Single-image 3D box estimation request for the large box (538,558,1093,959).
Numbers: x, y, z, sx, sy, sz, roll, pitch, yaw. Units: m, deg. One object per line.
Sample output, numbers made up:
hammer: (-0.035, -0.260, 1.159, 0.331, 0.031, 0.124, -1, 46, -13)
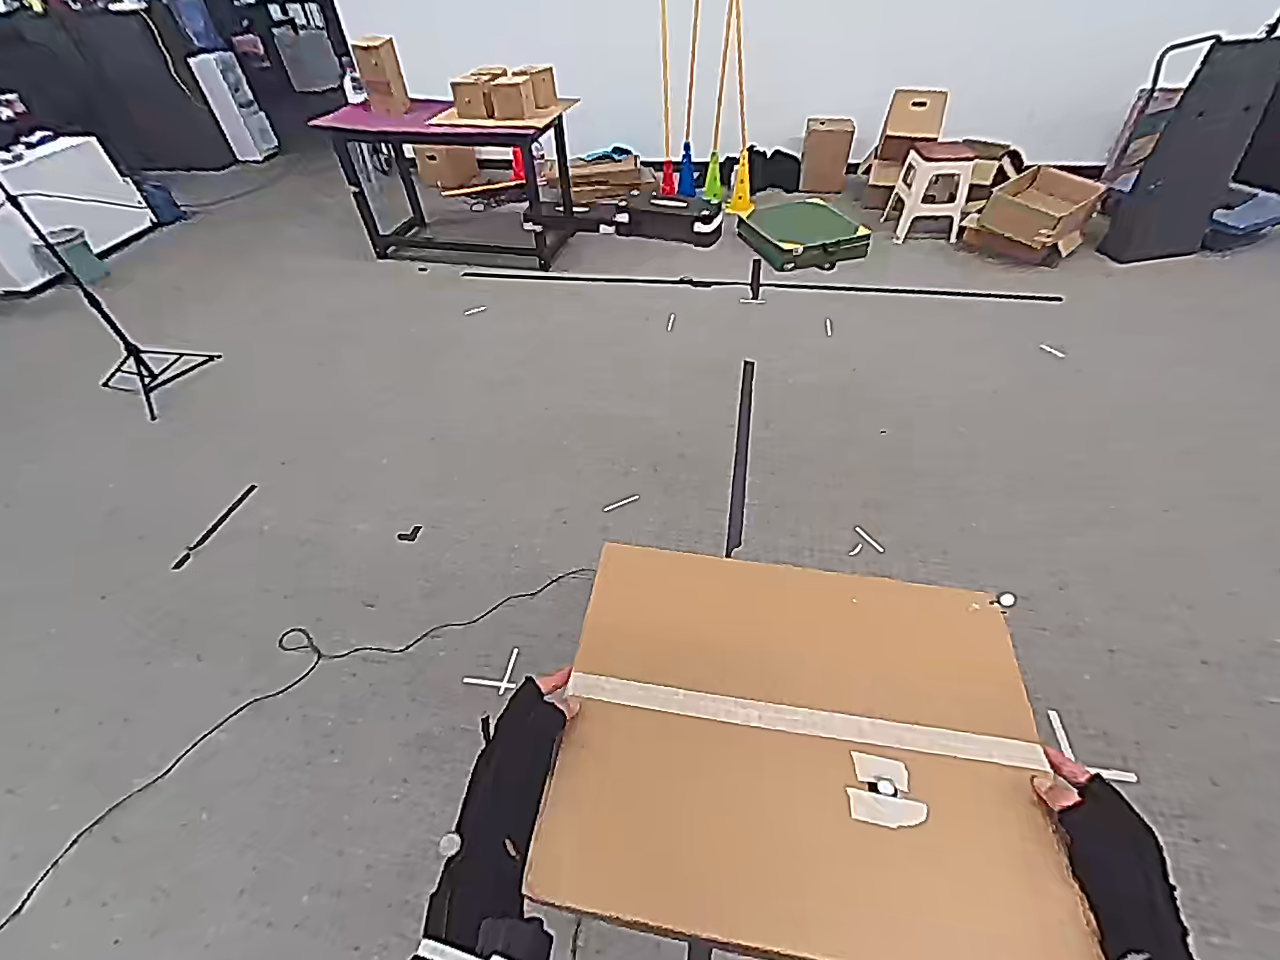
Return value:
large box: (0.139, 0.316, 0.589, 0.408, 0.320, 0.320, 7, 51, 6)
